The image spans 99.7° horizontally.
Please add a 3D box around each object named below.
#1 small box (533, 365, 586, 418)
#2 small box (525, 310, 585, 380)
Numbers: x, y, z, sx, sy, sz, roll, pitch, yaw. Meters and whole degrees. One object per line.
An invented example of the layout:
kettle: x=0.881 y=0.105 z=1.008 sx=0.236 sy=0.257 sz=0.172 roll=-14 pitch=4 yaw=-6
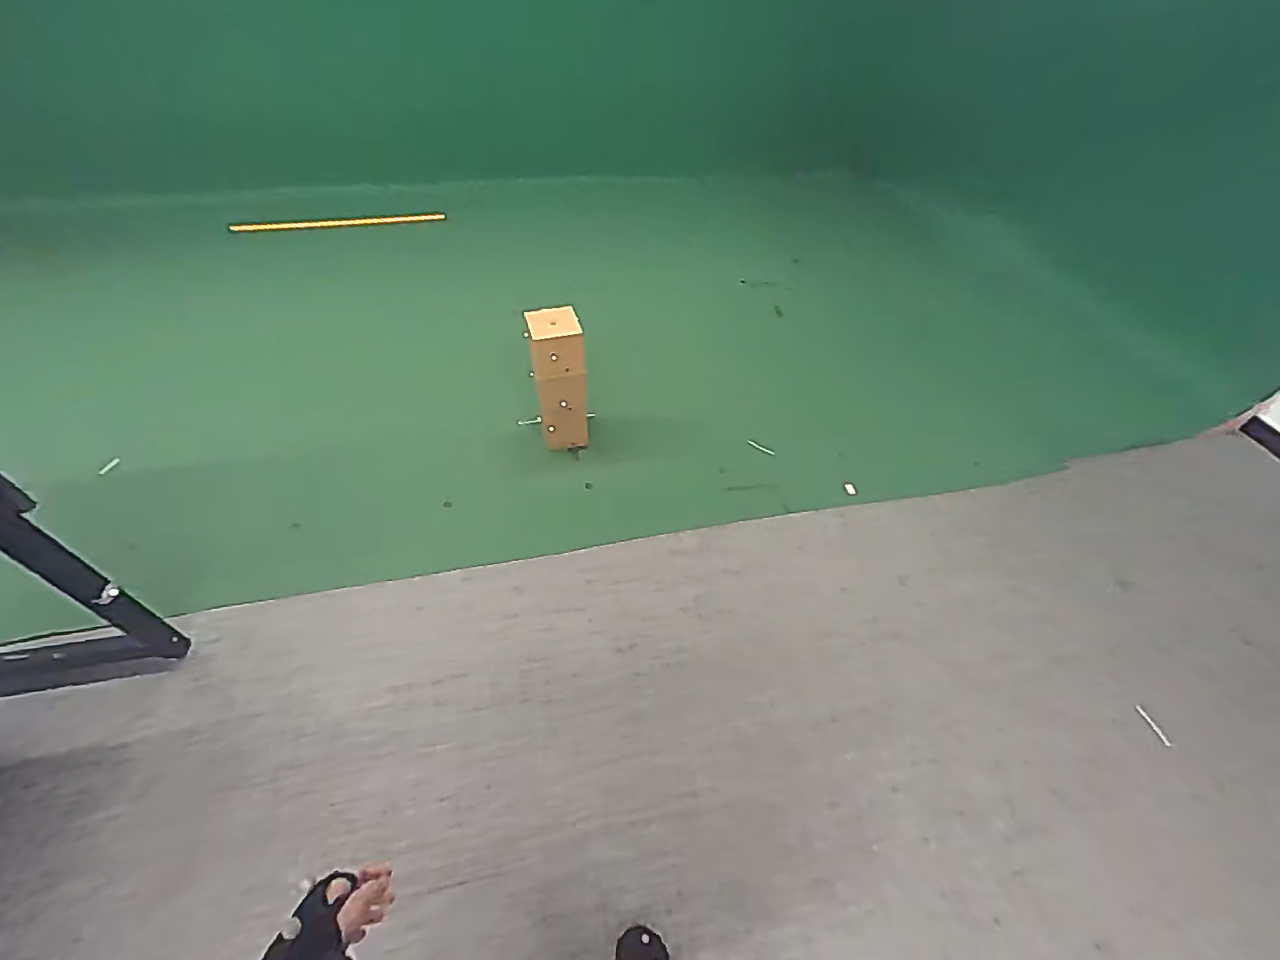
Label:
small box: x=-0.296 y=-0.351 z=1.980 sx=0.168 sy=0.176 sz=0.179 roll=-11 pitch=49 yaw=-11
small box: x=-0.290 y=-0.458 z=1.858 sx=0.168 sy=0.176 sz=0.179 roll=-12 pitch=49 yaw=-13
